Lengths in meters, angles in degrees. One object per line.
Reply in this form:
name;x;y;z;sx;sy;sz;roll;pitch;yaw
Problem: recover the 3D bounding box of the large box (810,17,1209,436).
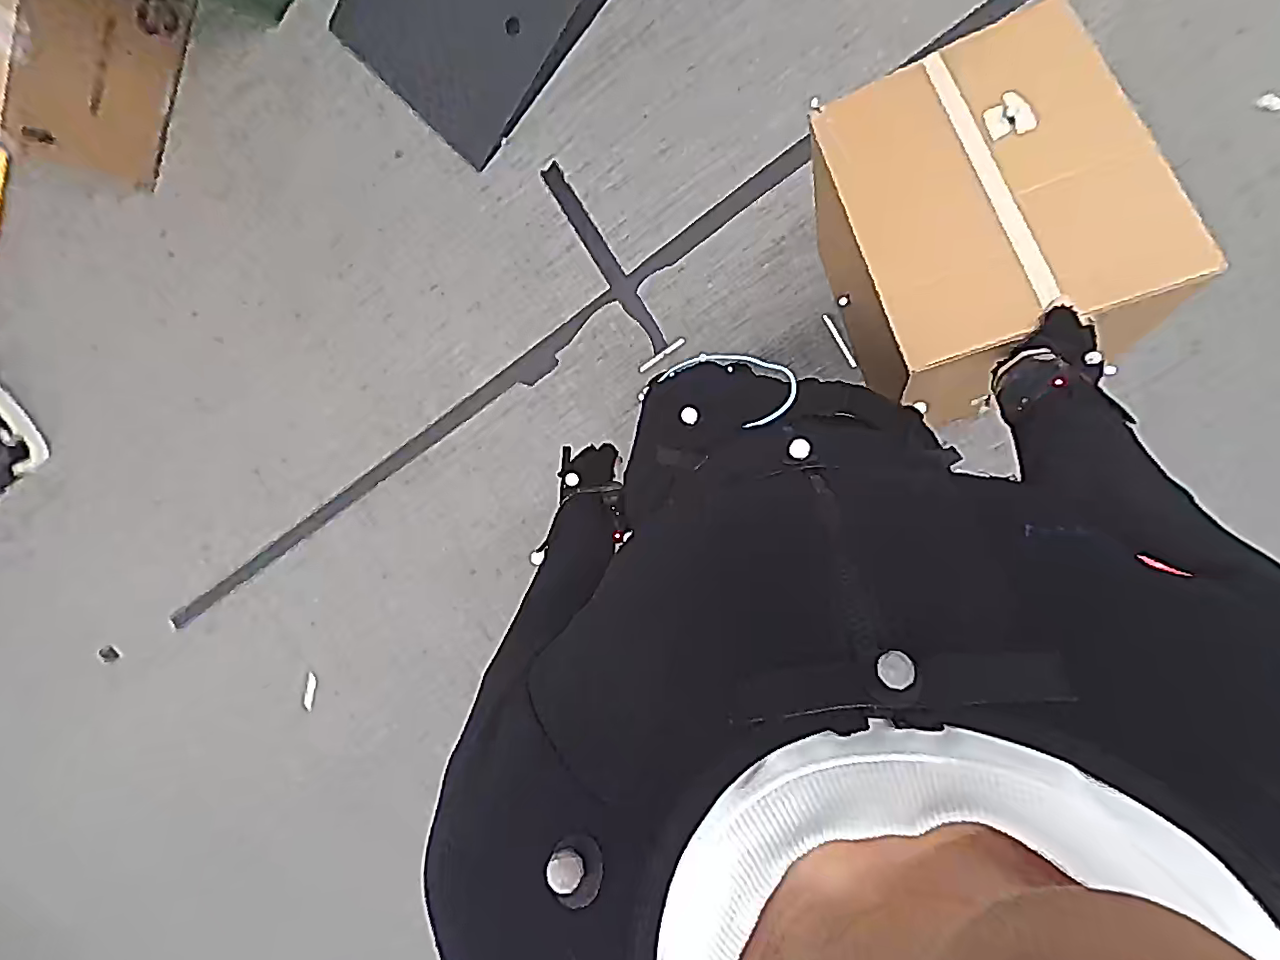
large box;0.475;-0.330;0.806;0.320;0.320;0.408;-17;73;15
